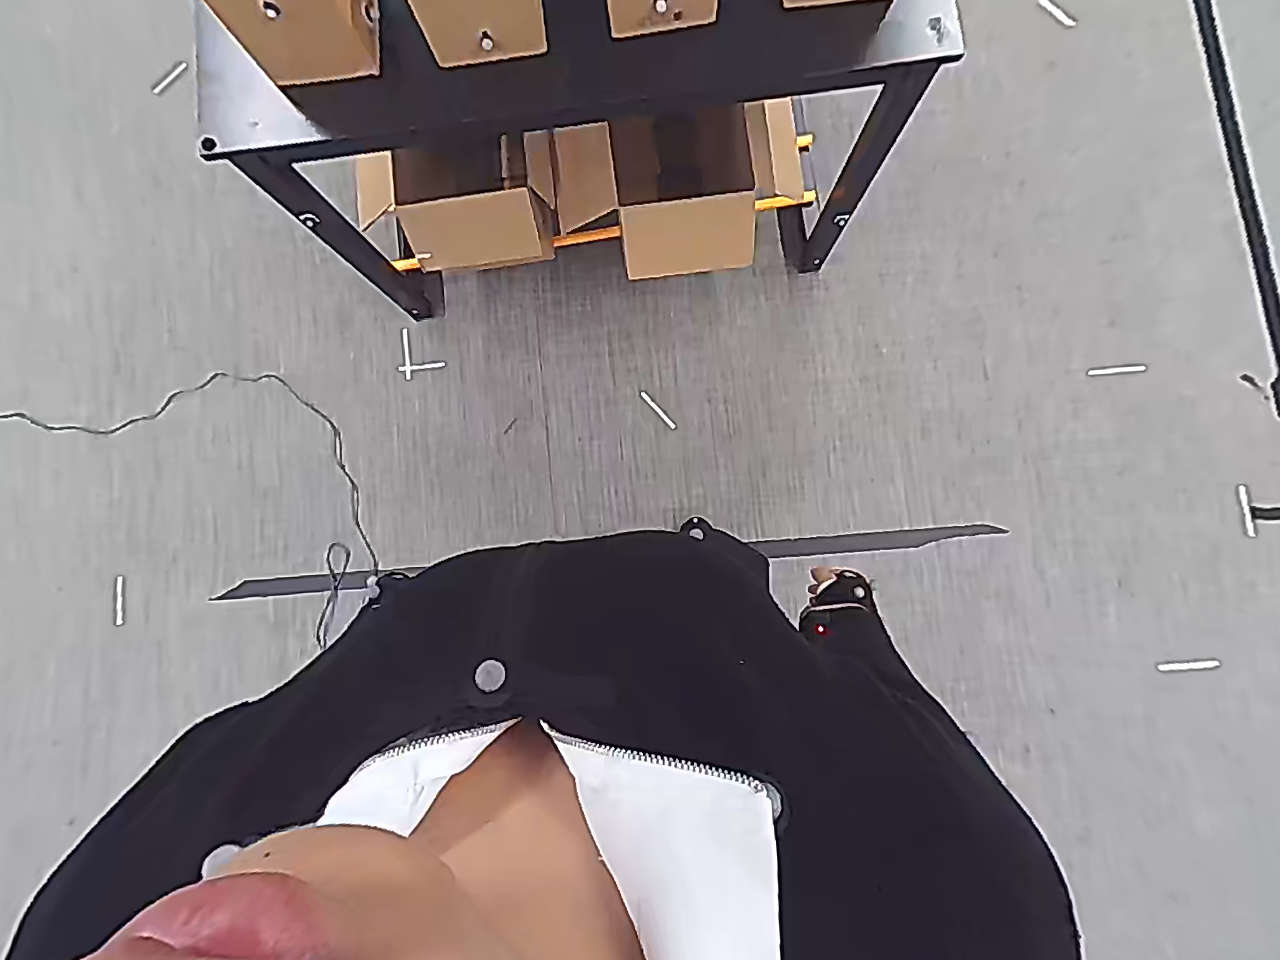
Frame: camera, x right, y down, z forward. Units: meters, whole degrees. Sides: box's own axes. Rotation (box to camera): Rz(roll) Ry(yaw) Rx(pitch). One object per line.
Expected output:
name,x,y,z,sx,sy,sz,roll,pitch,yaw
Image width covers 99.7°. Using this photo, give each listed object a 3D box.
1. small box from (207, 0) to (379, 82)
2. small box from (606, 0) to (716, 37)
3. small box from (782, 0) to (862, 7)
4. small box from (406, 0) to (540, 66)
small box,-0.508,-0.721,0.786,0.179,0.176,0.168,-6,85,0
small box,0.022,-0.794,0.775,0.168,0.176,0.179,-8,85,1
small box,0.300,-0.826,0.766,0.179,0.176,0.168,-4,83,2
small box,-0.246,-0.746,0.780,0.179,0.176,0.168,-8,84,1
